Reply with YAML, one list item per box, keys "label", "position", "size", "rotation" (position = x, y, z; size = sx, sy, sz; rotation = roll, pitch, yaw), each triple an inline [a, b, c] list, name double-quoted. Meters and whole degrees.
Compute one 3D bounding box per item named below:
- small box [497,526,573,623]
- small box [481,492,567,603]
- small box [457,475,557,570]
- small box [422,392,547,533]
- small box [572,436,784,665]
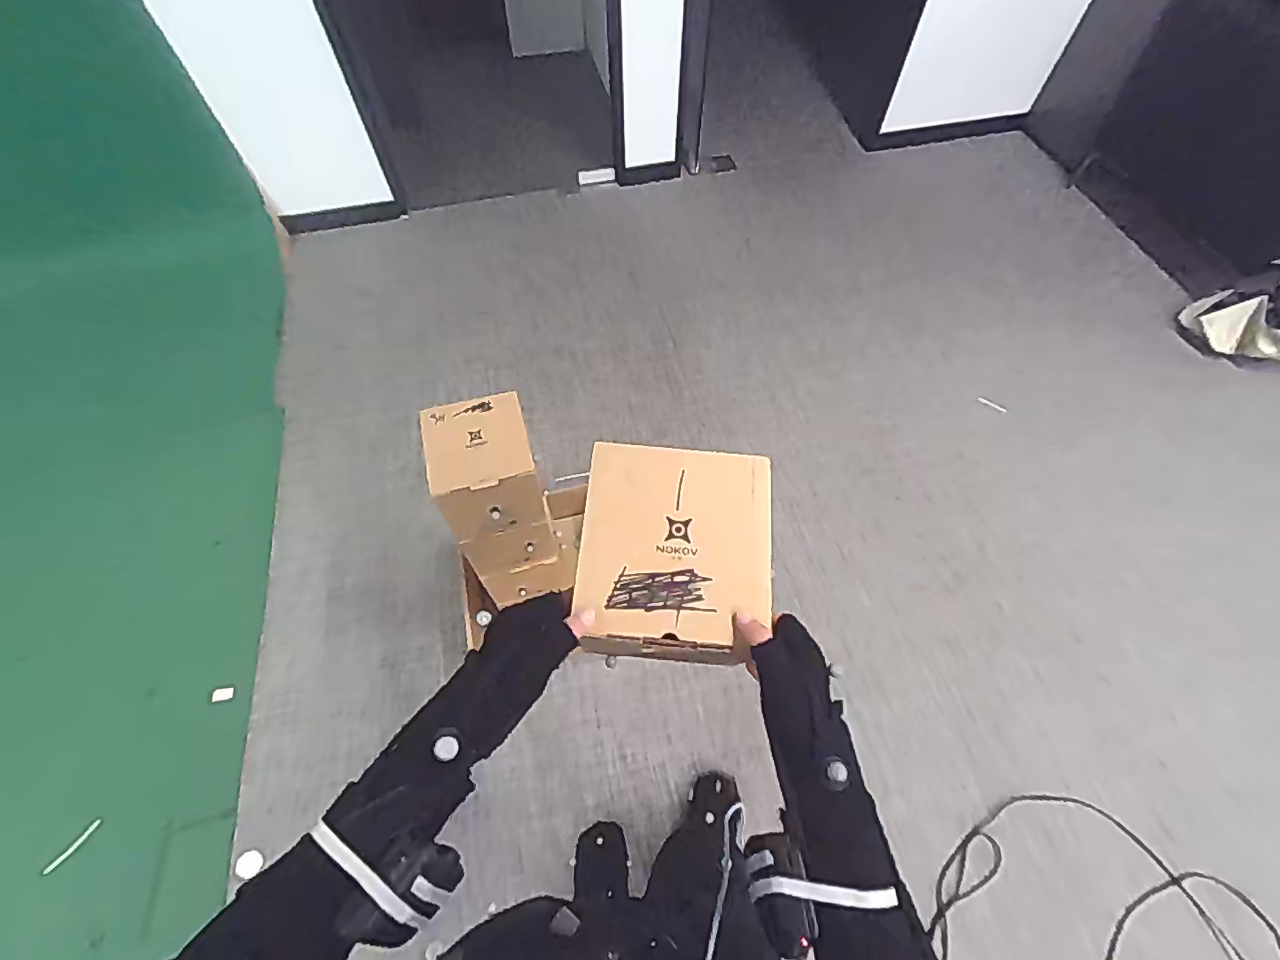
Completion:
- label: "small box"
  position: [-0.267, 0.239, 1.357]
  size: [0.168, 0.176, 0.179]
  rotation: [-11, 60, -7]
- label: "small box"
  position: [-0.266, 0.154, 1.218]
  size: [0.168, 0.176, 0.179]
  rotation: [-12, 60, -8]
- label: "small box"
  position: [-0.267, 0.065, 1.081]
  size: [0.168, 0.176, 0.179]
  rotation: [-13, 60, -10]
- label: "small box"
  position: [-0.264, -0.022, 0.942]
  size: [0.168, 0.176, 0.179]
  rotation: [-13, 61, -10]
- label: "small box"
  position: [0.034, 0.080, 0.534]
  size: [0.168, 0.176, 0.179]
  rotation: [9, 68, 0]
